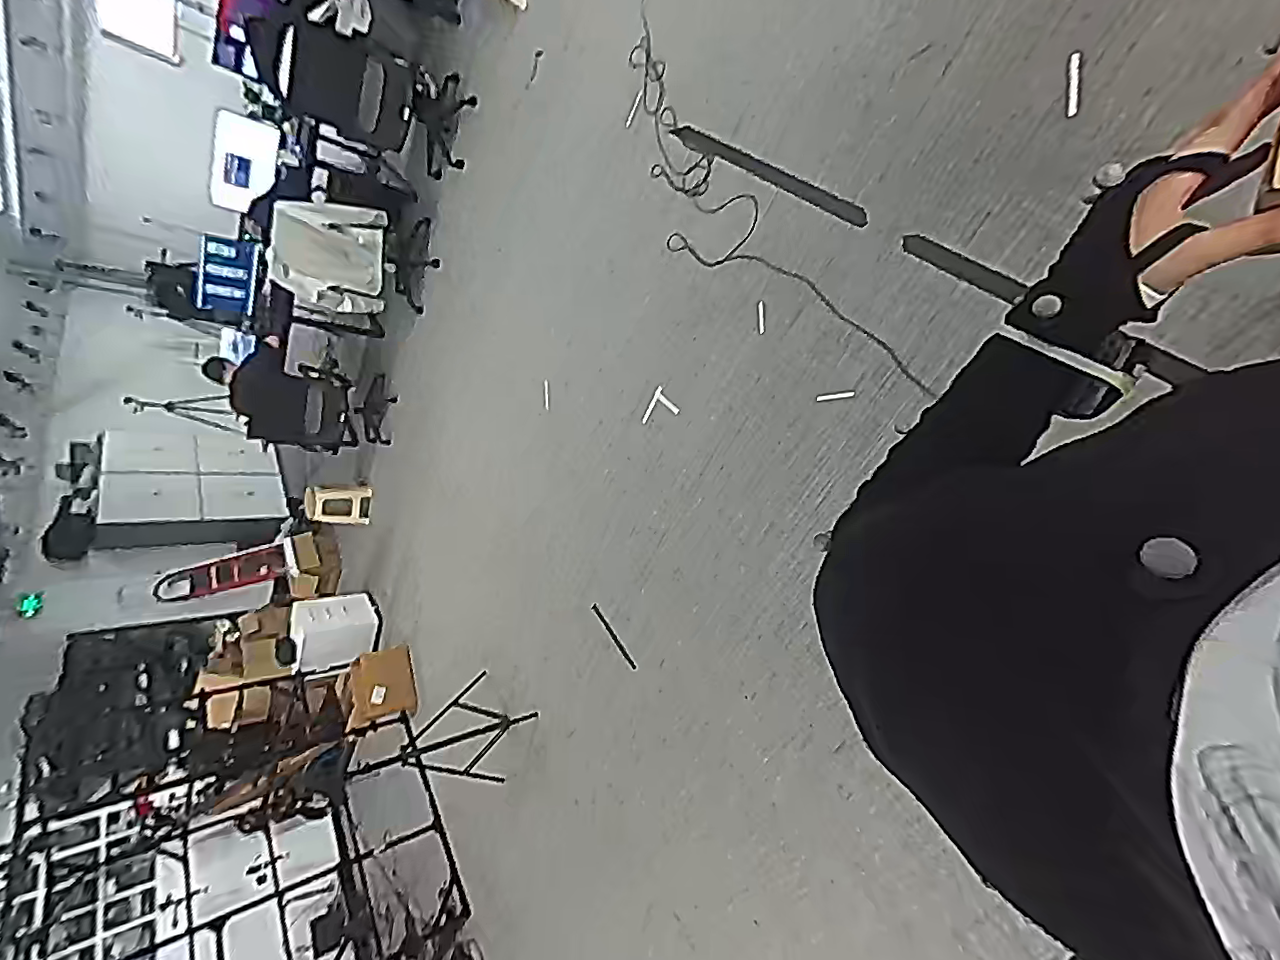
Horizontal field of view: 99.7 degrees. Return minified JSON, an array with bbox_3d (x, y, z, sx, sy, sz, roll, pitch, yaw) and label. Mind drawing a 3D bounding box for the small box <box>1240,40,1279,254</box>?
[{"bbox_3d":[0.447,-0.222,0.271,0.179,0.176,0.168,13,105,44],"label":"small box"}]
